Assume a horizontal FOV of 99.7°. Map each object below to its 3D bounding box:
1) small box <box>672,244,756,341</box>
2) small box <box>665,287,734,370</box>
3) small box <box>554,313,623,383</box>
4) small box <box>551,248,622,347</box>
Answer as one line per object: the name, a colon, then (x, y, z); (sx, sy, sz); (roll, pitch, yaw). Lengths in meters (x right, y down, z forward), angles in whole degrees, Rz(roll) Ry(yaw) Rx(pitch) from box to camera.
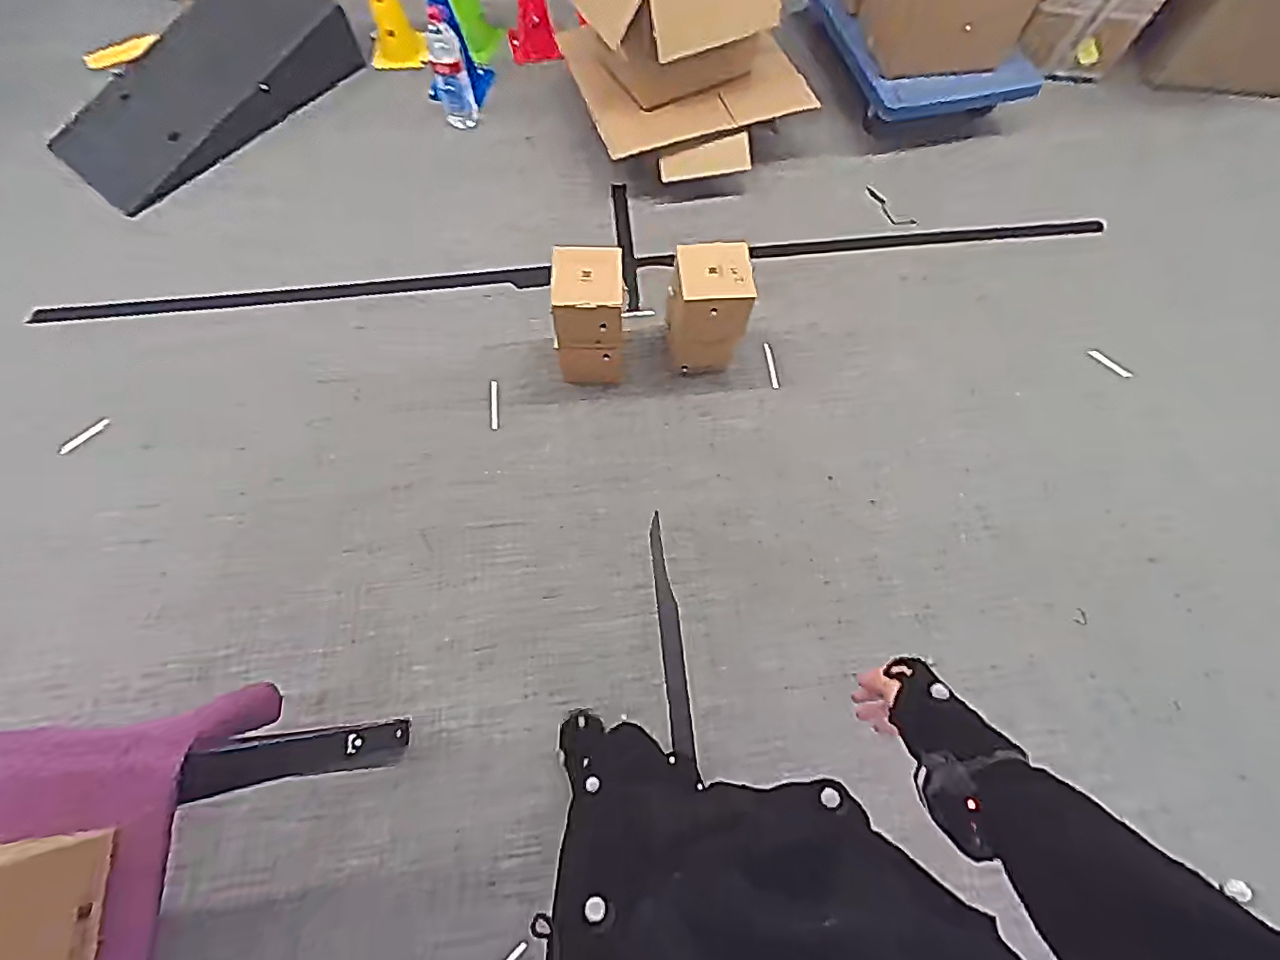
small box: (0.176, -0.463, 1.350); (0.179, 0.176, 0.168); (-3, 70, -4)
small box: (0.164, -0.420, 1.510); (0.168, 0.176, 0.179); (-6, 69, -5)
small box: (-0.136, -0.379, 1.486); (0.179, 0.176, 0.168); (0, 69, -2)
small box: (-0.128, -0.445, 1.338); (0.168, 0.176, 0.179); (-1, 68, -4)
